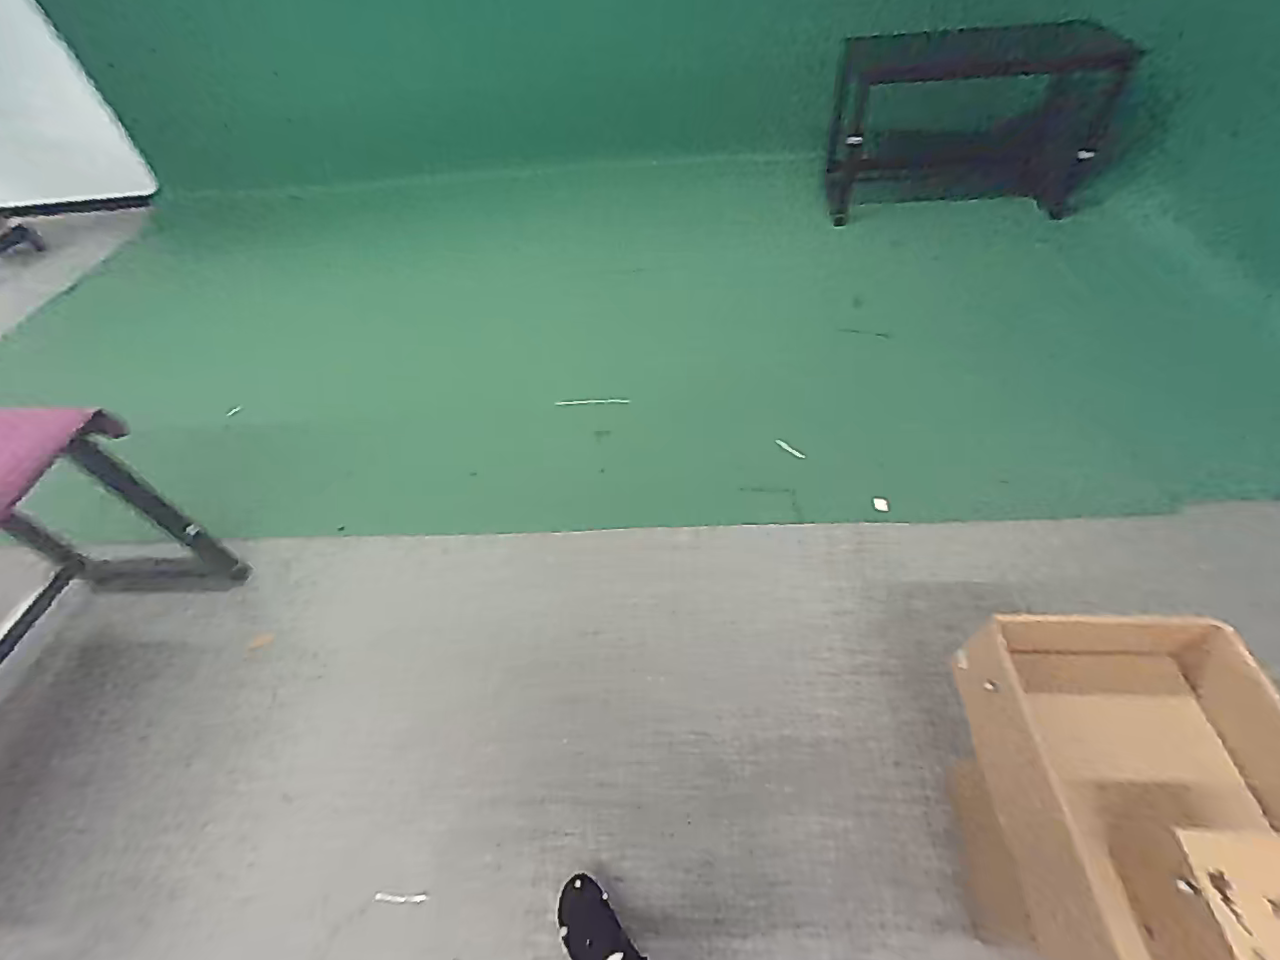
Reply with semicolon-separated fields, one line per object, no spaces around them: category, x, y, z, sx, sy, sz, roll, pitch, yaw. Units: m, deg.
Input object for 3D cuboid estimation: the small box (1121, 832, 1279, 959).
small box;0.811;0.584;0.715;0.179;0.176;0.168;1;48;6
